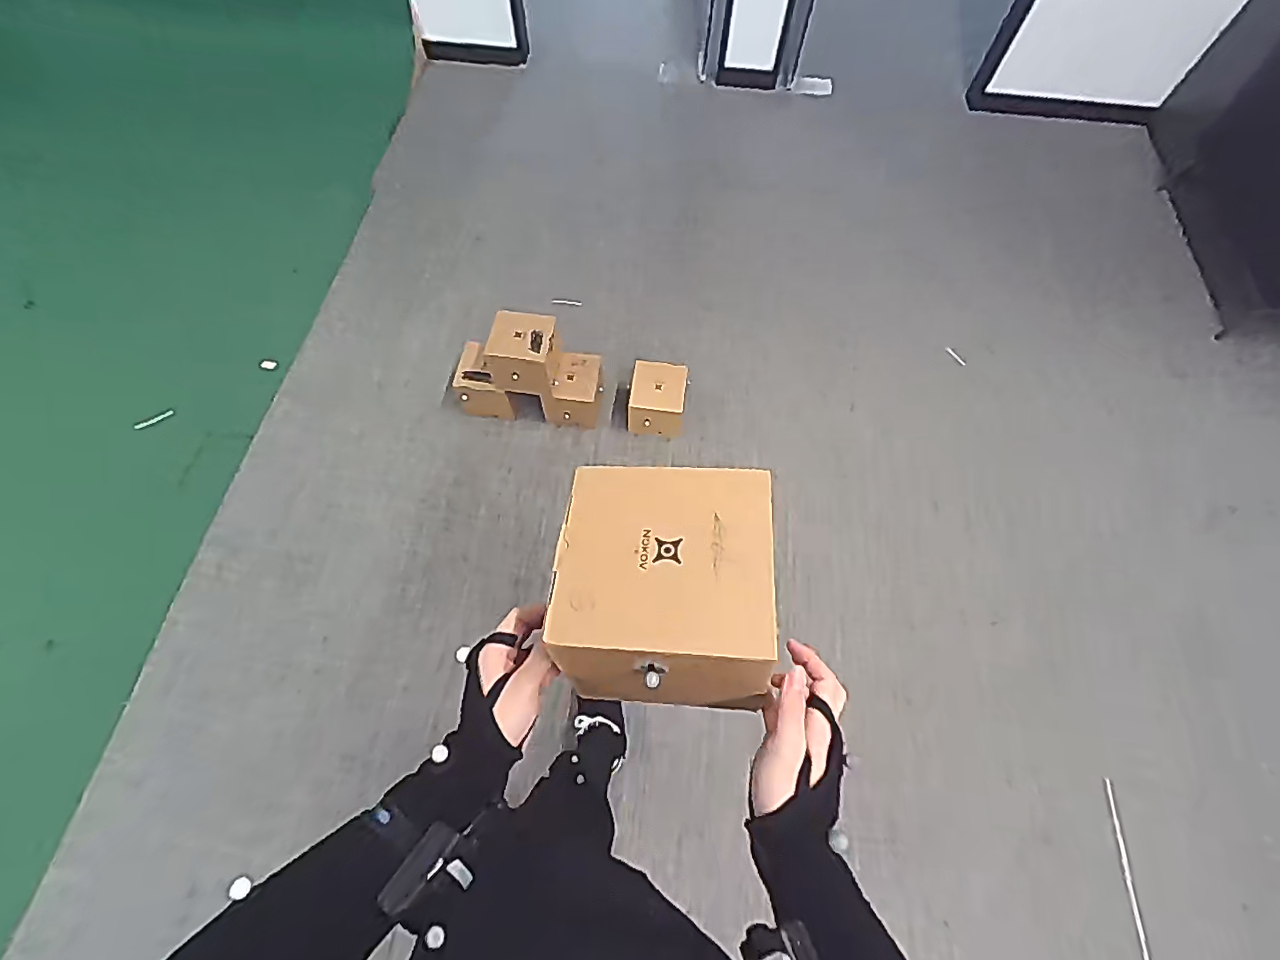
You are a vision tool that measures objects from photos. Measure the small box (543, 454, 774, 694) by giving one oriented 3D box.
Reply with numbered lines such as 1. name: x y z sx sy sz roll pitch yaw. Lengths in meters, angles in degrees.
1. small box: 0.028 0.092 0.505 0.179 0.176 0.168 1 55 8

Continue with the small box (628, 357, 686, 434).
1. small box: 0.054 -0.264 1.723 0.168 0.176 0.179 7 65 2

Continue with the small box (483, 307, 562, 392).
1. small box: -0.334 -0.375 1.581 0.179 0.176 0.168 8 65 3
